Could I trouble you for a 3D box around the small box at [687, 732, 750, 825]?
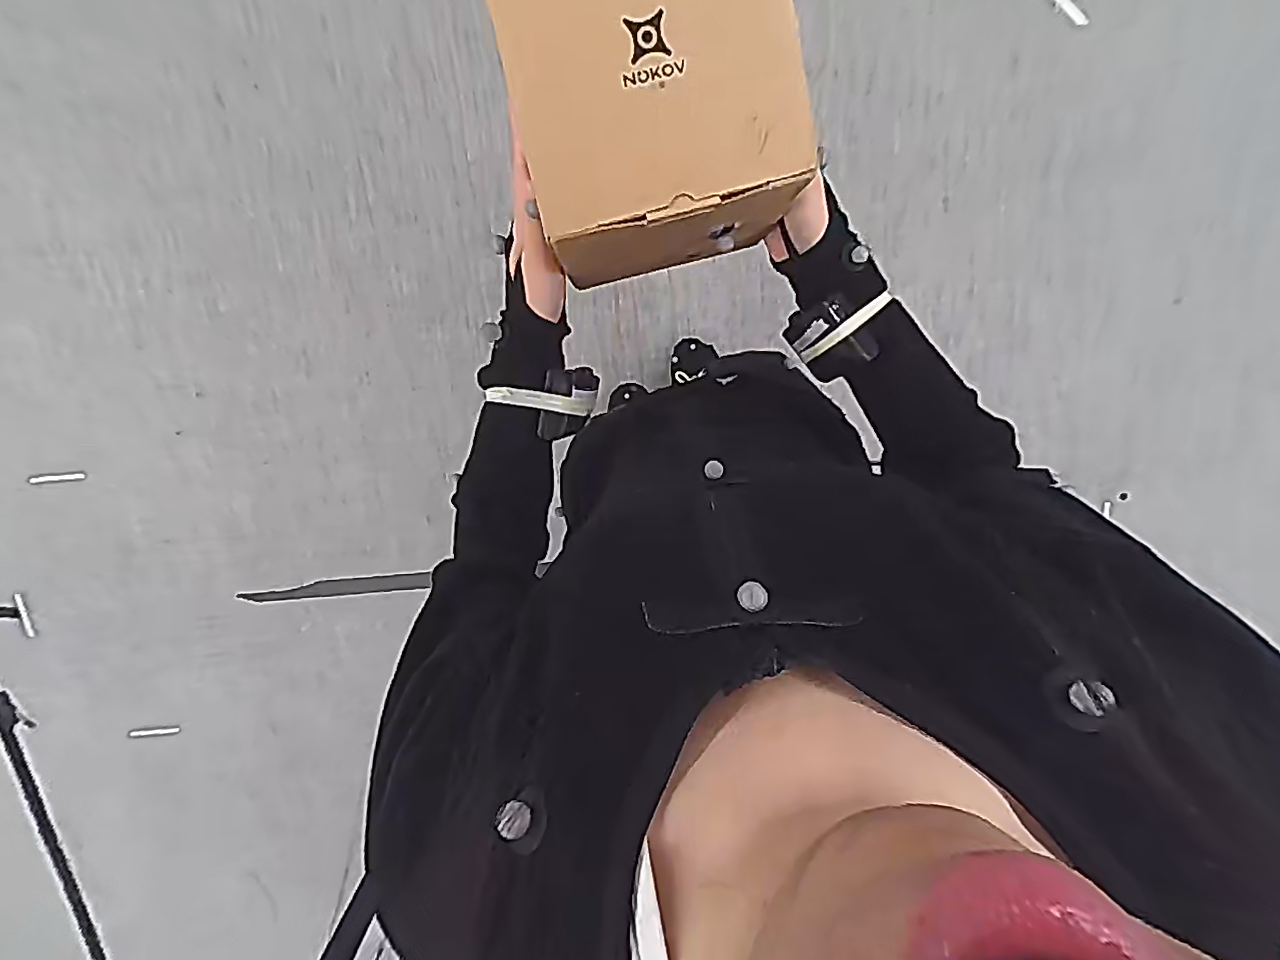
[{"bbox_3d":[0.229,0.878,1.599,0.168,0.176,0.179,-4,103,0],"label":"small box"}]
